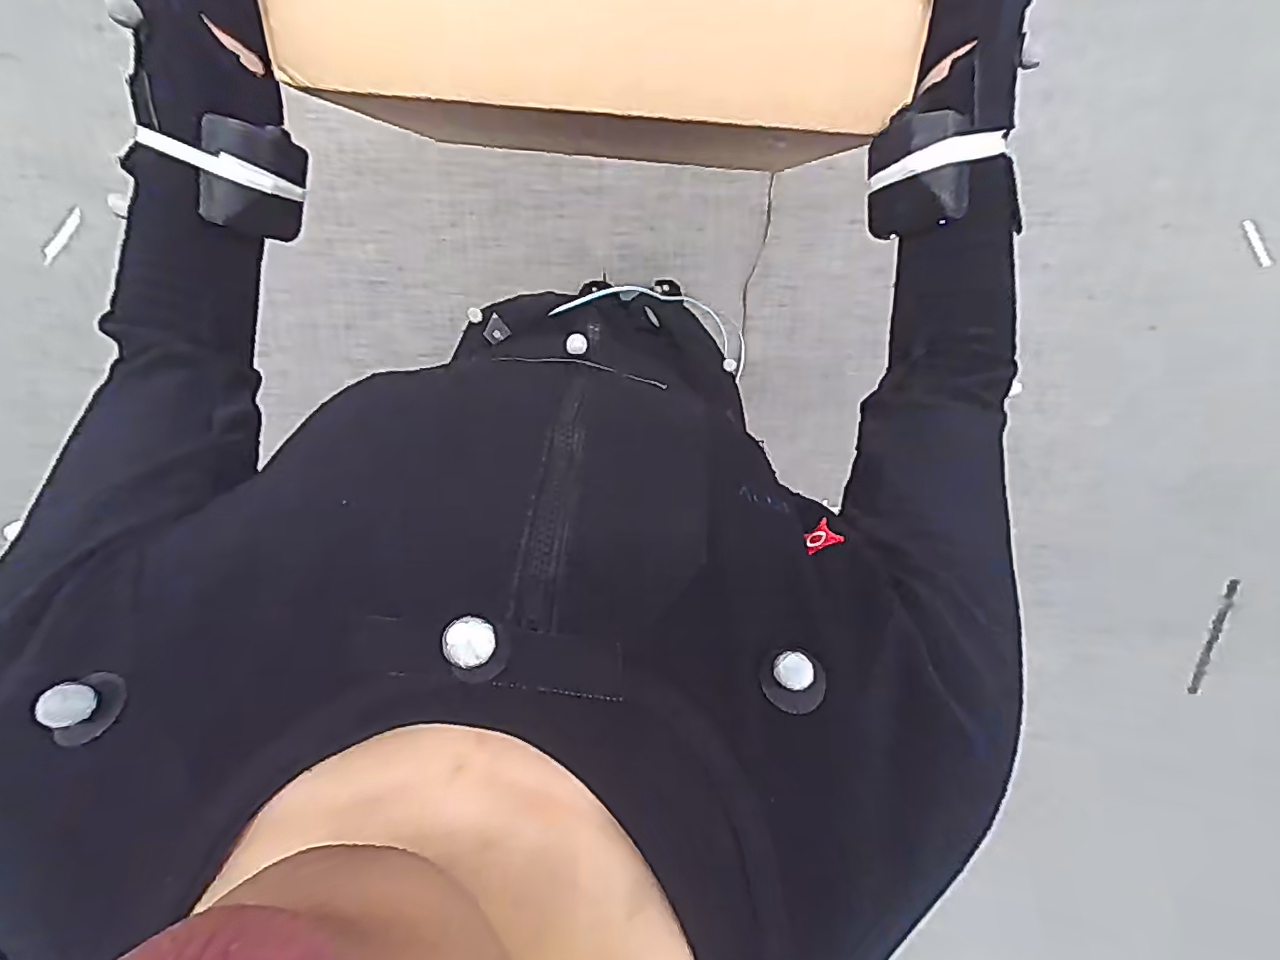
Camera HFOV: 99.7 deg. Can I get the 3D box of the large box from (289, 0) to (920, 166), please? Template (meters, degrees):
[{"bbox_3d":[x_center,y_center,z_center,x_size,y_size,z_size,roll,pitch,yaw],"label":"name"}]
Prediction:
[{"bbox_3d":[-0.019,-0.450,0.431,0.408,0.320,0.320,3,117,-3],"label":"large box"}]
